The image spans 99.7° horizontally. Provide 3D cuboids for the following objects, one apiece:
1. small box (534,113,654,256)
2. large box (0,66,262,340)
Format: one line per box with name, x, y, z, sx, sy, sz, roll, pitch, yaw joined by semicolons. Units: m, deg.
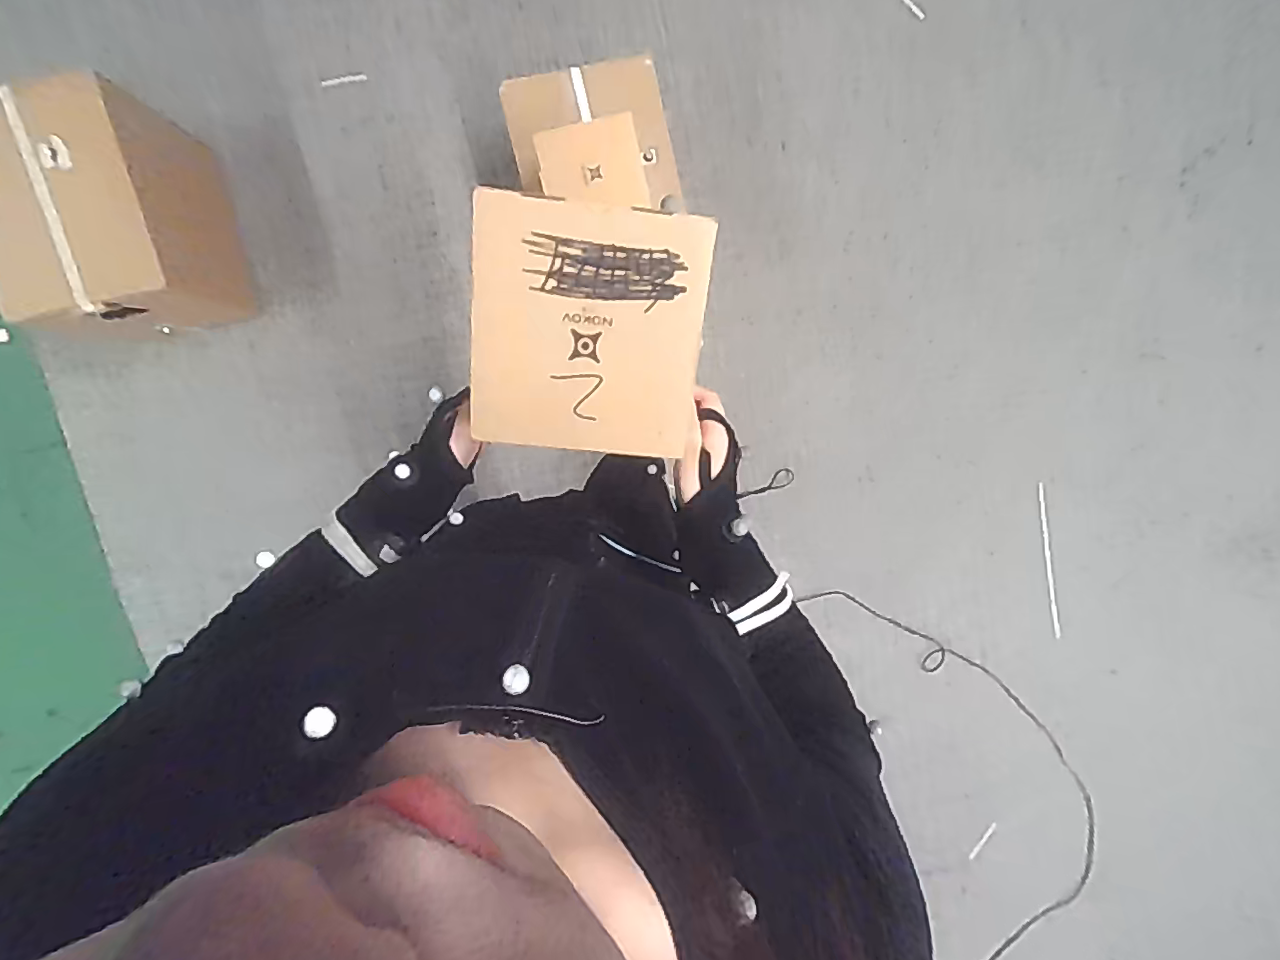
small box;-0.080;-0.531;0.995;0.179;0.176;0.168;-13;99;0
large box;-1.109;-0.549;1.155;0.320;0.320;0.408;-13;98;-2
